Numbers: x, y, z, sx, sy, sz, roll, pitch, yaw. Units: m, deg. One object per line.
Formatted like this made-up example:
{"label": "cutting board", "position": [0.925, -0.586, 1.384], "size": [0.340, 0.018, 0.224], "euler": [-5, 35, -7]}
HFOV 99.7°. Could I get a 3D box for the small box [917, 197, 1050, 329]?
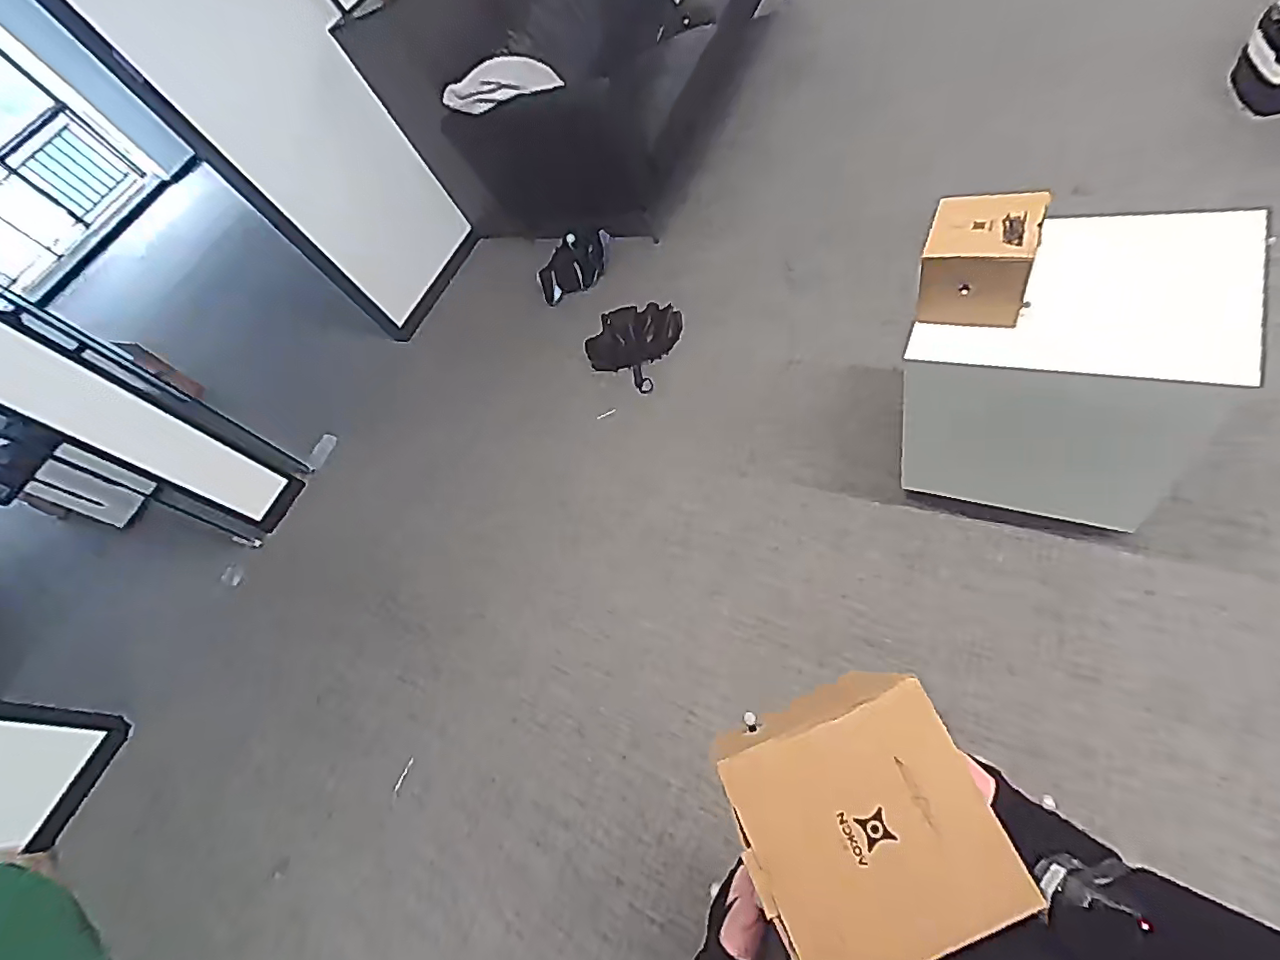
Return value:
{"label": "small box", "position": [0.648, -0.410, 1.036], "size": [0.179, 0.176, 0.168], "euler": [14, 67, 31]}
